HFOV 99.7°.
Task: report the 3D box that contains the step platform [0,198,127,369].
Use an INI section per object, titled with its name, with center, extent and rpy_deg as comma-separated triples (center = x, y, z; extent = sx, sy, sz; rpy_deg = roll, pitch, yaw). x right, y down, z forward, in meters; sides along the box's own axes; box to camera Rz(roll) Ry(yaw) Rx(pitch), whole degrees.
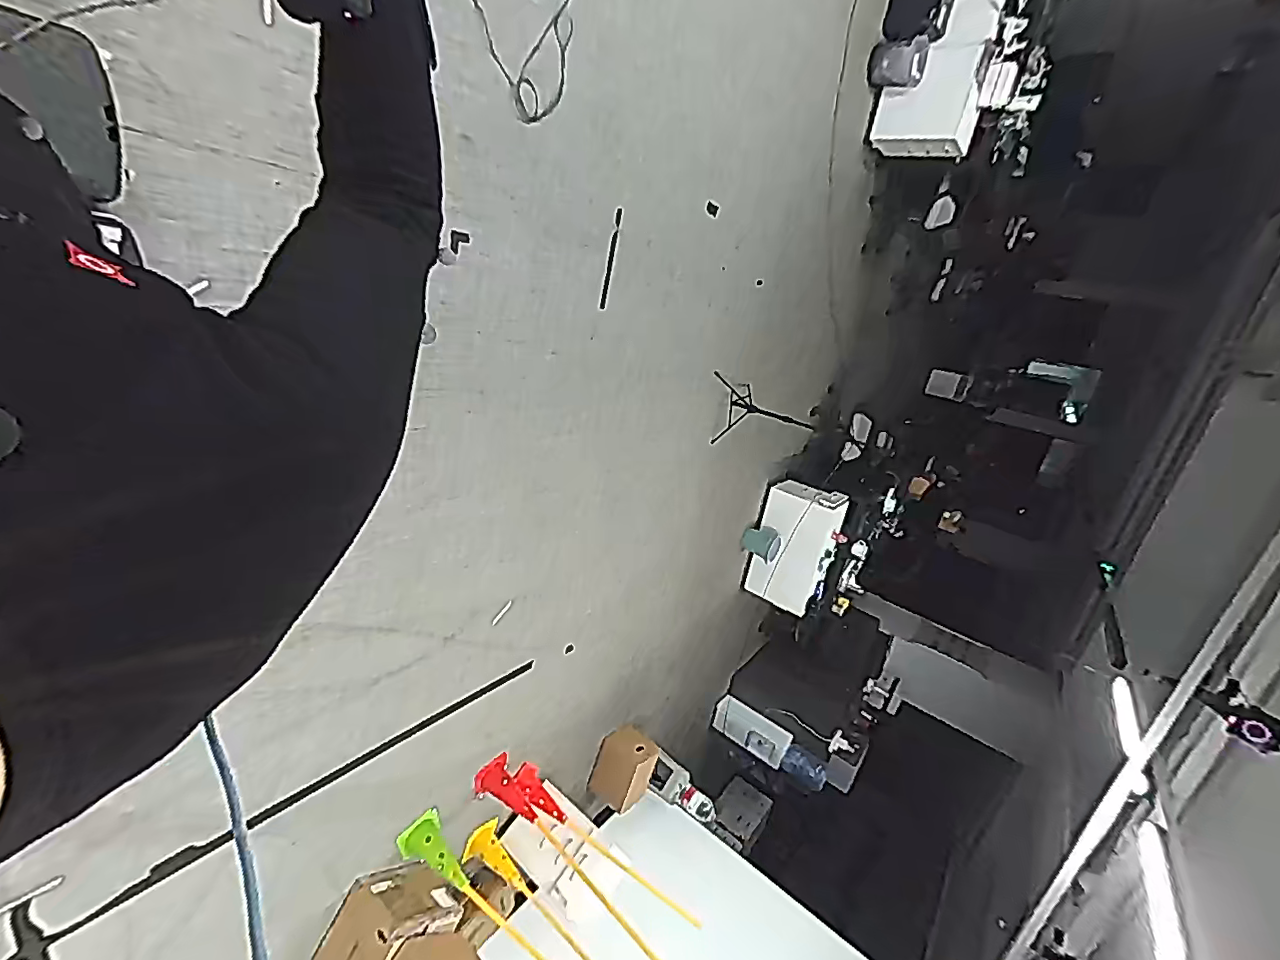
[step platform]
center = -1.254, -0.319, 0.825
extent = 0.684, 0.204, 0.286
rpy_deg = -16, 122, -49
